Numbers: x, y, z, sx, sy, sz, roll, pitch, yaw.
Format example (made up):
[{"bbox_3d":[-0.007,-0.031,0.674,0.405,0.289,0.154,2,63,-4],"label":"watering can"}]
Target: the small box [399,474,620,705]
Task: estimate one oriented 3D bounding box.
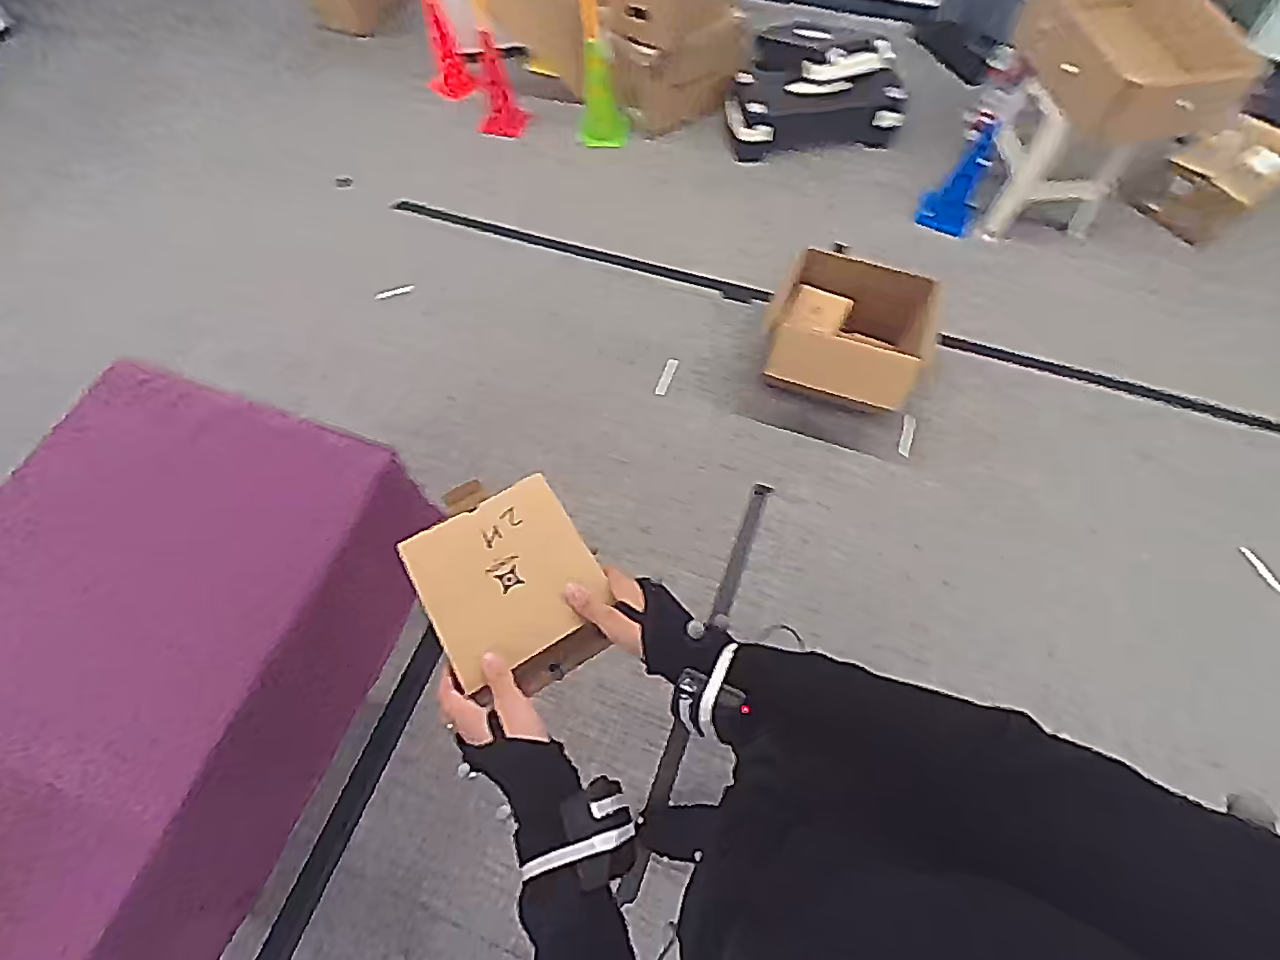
[{"bbox_3d":[-0.131,0.130,0.602,0.168,0.176,0.179,-29,66,-16],"label":"small box"}]
